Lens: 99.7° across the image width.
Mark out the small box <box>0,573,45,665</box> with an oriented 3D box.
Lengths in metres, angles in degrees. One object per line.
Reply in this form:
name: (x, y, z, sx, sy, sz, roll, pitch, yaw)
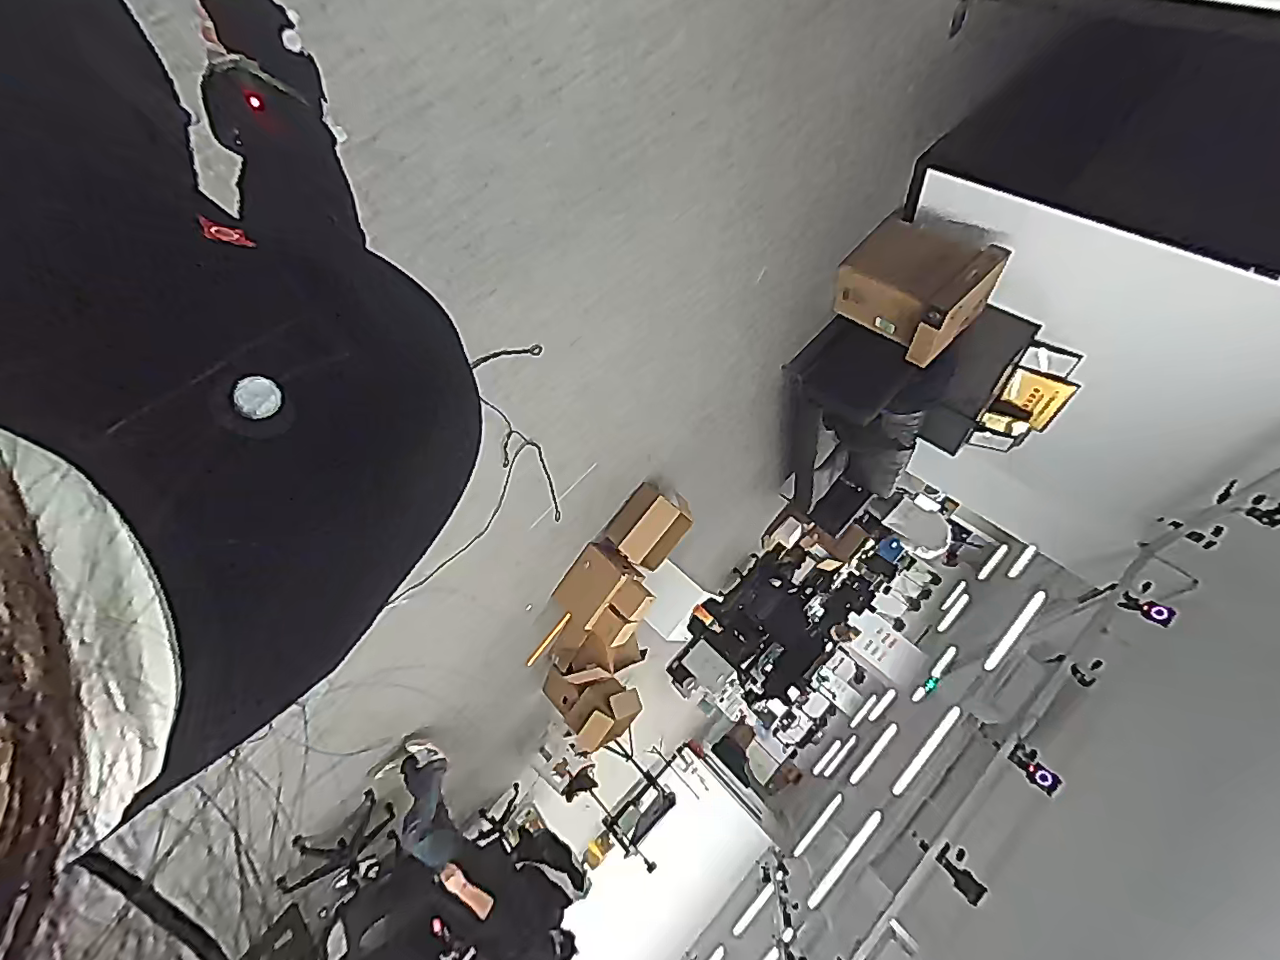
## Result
small box: (-1.471, 0.305, 1.168, 0.179, 0.176, 0.168, -47, 154, -7)
